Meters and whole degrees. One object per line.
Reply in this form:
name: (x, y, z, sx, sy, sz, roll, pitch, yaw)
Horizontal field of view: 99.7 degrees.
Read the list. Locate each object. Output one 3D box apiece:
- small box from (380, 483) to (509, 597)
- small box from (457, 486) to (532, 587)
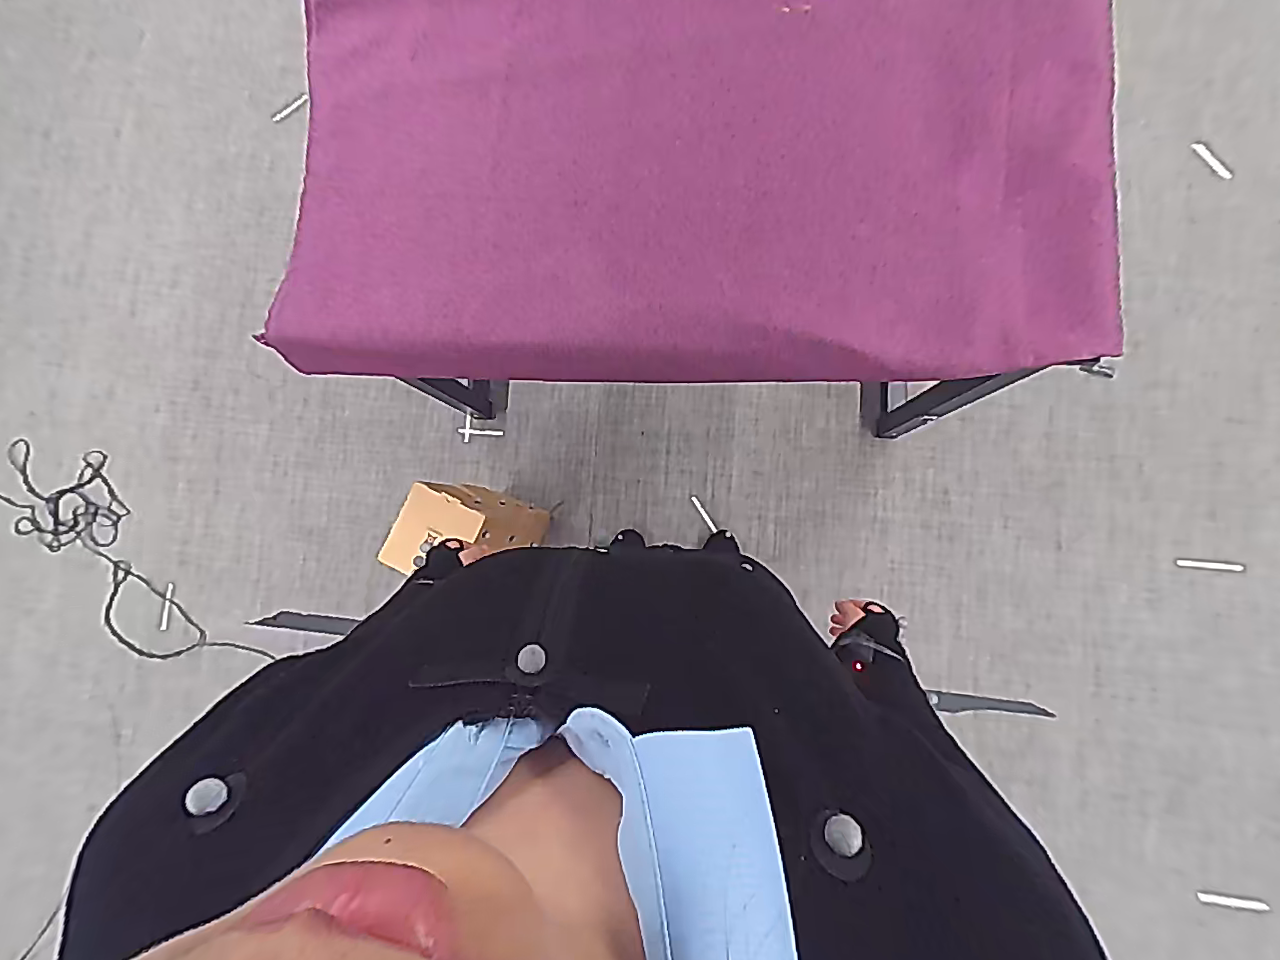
small box: (-0.399, 0.123, 1.137, 0.168, 0.176, 0.179, 25, 87, 6)
small box: (-0.380, 0.133, 1.299, 0.168, 0.176, 0.179, 32, 89, 7)
